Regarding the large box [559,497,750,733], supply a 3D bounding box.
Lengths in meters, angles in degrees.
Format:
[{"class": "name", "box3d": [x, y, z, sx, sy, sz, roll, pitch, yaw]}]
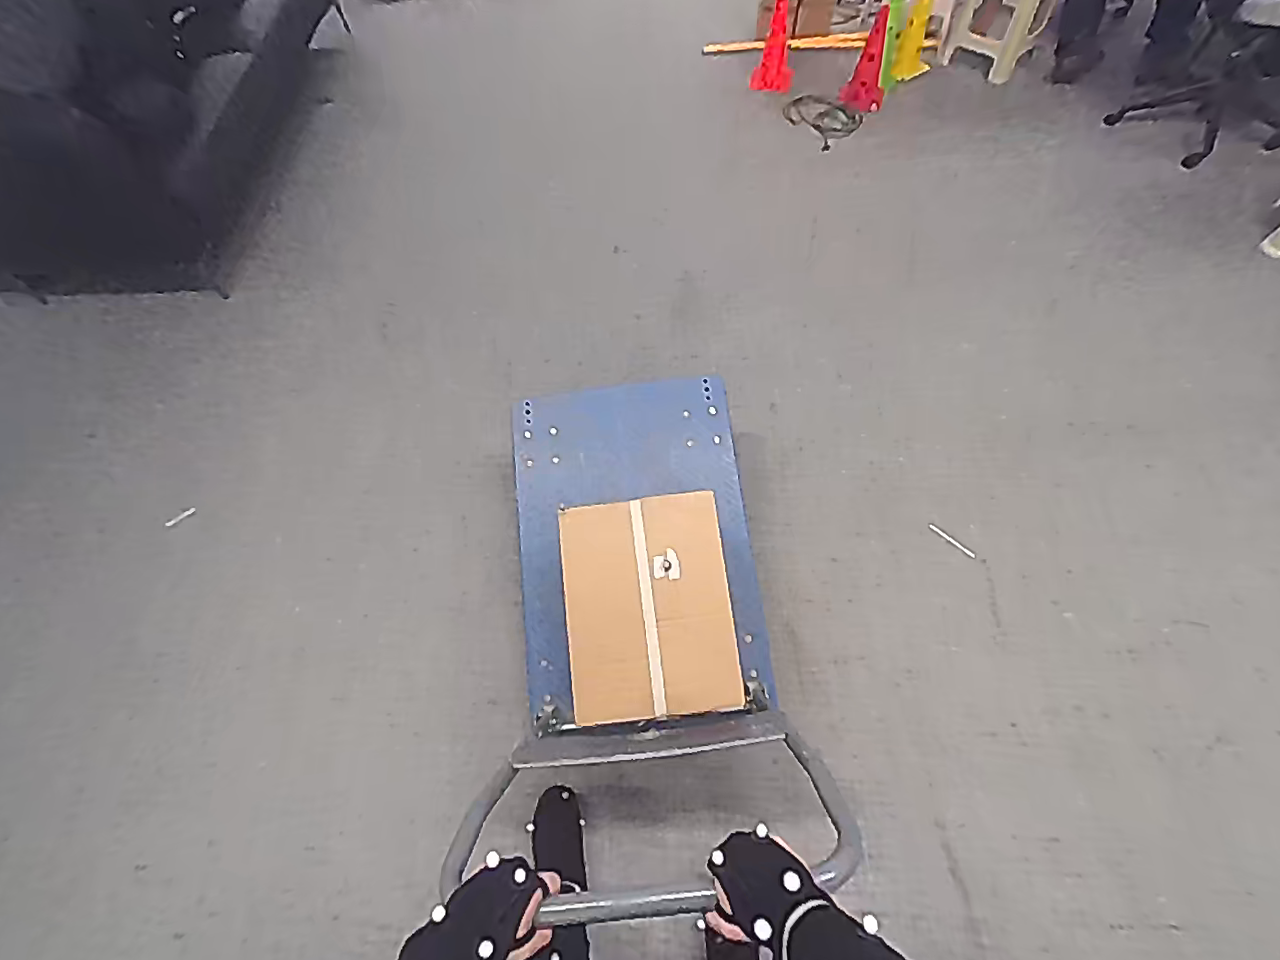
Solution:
[{"class": "large box", "box3d": [0.027, 0.280, 1.155, 0.320, 0.320, 0.408, -7, 76, 0]}]
